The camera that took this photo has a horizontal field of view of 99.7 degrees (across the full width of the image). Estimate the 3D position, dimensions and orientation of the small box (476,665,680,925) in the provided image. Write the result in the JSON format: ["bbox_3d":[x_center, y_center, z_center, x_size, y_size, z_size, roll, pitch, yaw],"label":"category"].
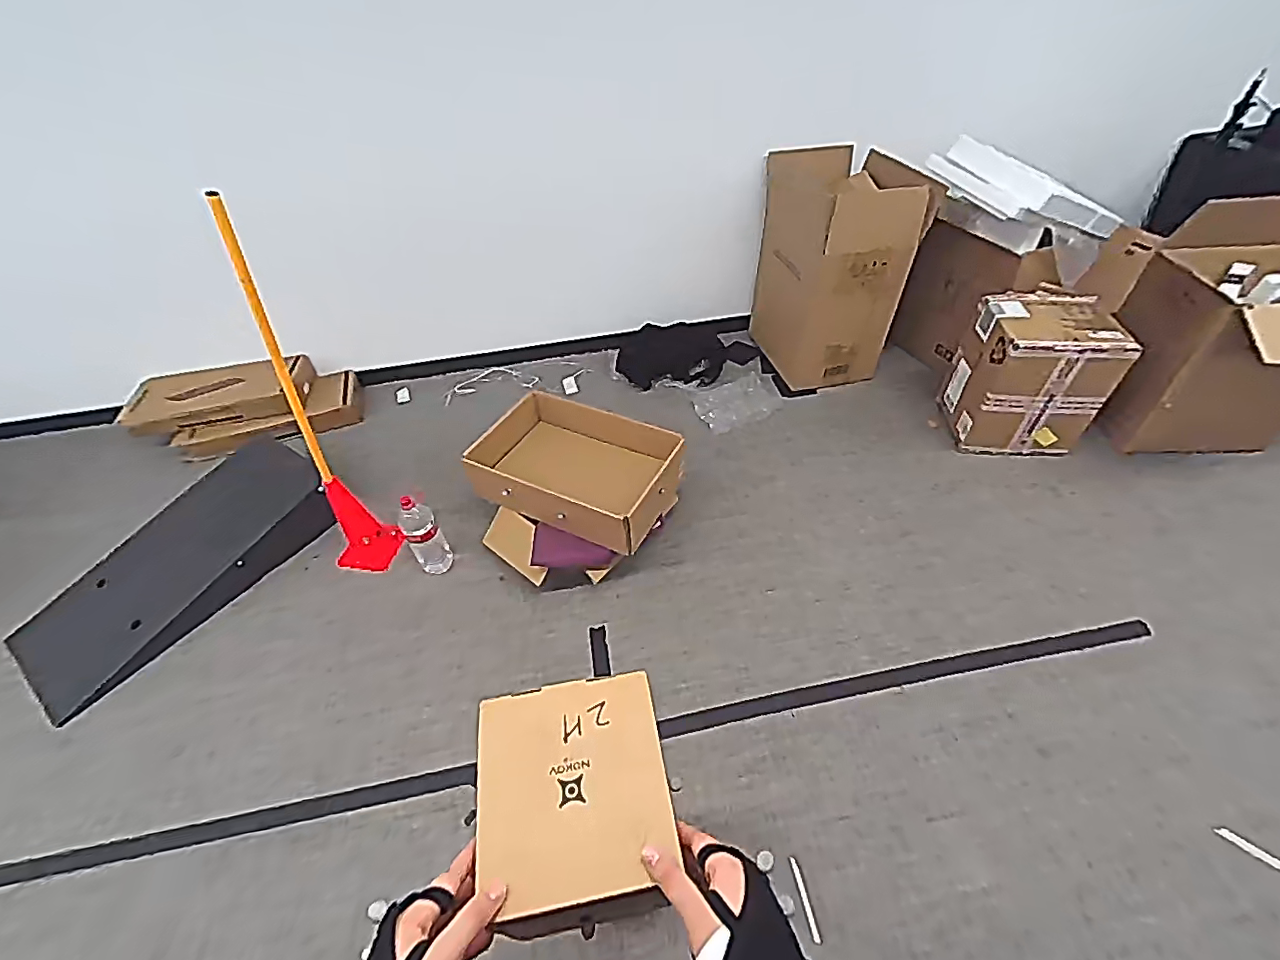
[{"bbox_3d":[-0.057,0.314,0.534,0.168,0.176,0.179,-10,47,-6],"label":"small box"}]

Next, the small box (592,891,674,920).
[{"bbox_3d":[-0.026,0.836,1.186,0.179,0.176,0.168,-11,44,-4],"label":"small box"}]
